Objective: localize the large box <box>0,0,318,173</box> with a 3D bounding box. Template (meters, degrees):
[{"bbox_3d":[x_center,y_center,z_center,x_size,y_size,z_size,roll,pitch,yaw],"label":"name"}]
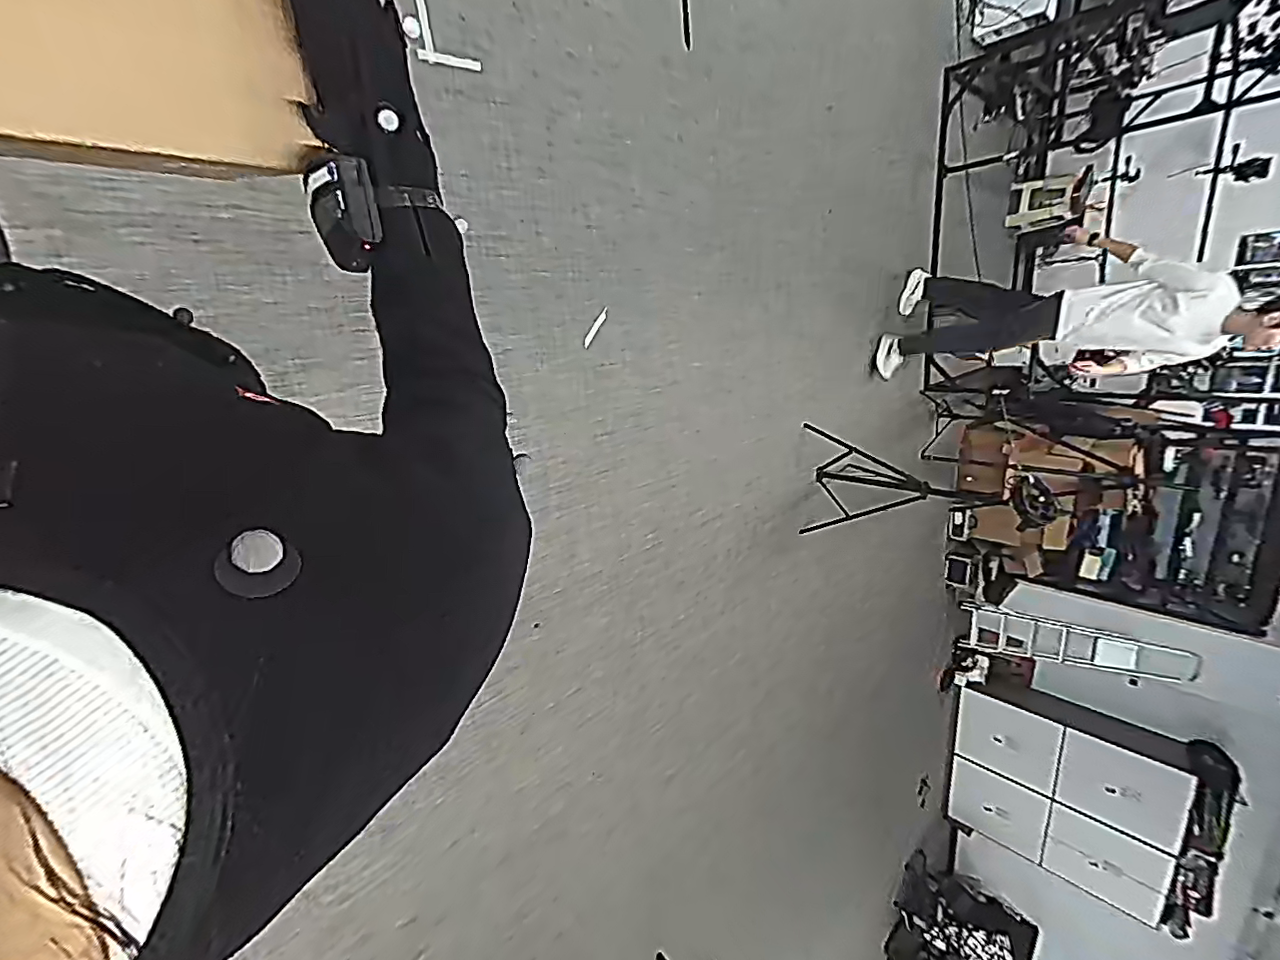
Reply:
[{"bbox_3d":[-0.474,-0.373,0.304,0.408,0.320,0.320,-19,124,-41],"label":"large box"}]
